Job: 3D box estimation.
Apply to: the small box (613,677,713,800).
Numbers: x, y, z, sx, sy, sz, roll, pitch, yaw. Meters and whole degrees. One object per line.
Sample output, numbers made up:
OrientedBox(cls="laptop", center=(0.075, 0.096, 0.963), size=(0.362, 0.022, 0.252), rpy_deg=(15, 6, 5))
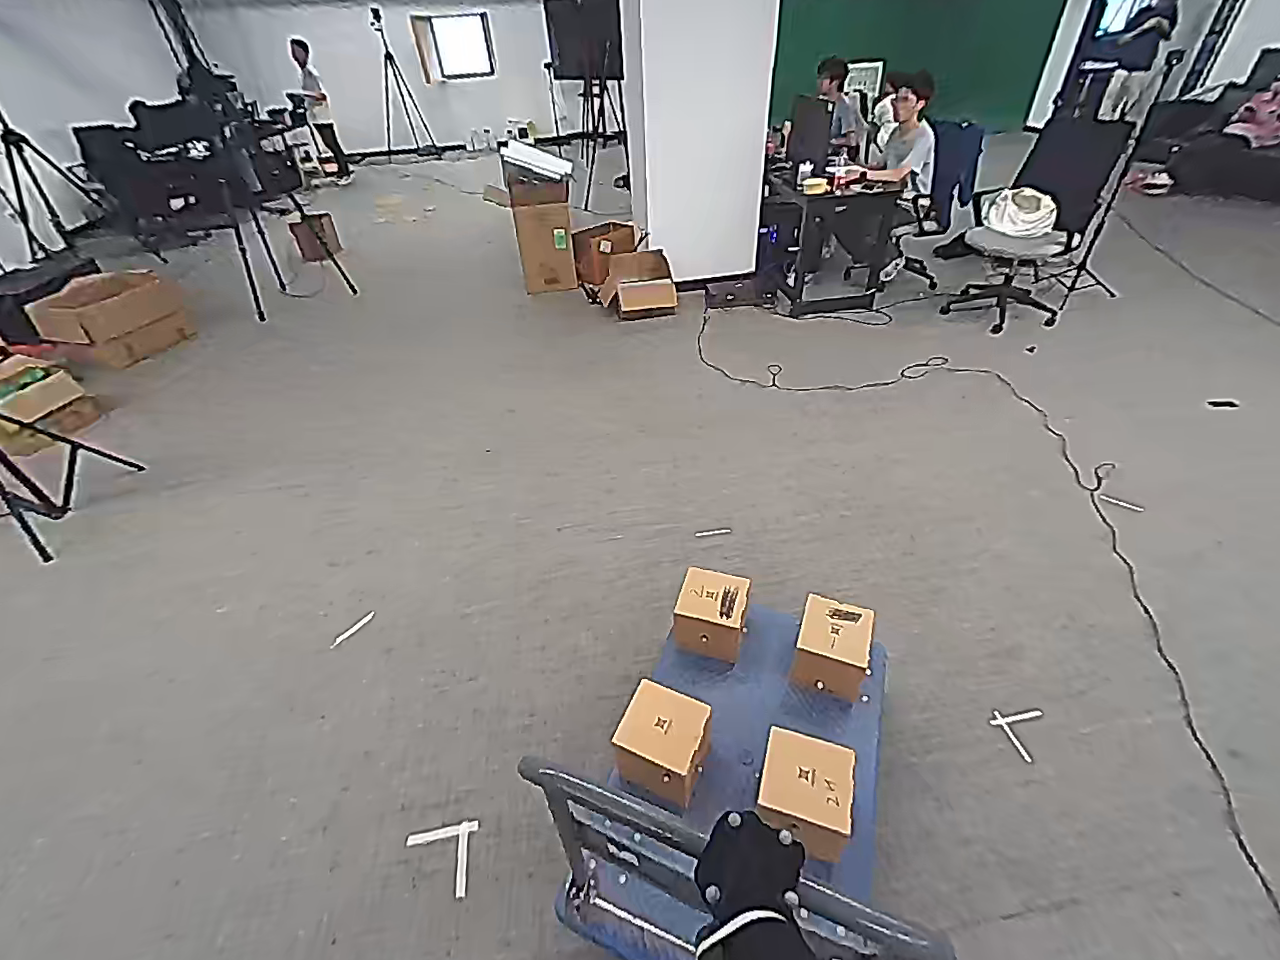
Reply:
OrientedBox(cls="small box", center=(0.055, 0.594, 1.238), size=(0.179, 0.176, 0.168), rpy_deg=(16, 43, 20))

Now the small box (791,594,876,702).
OrientedBox(cls="small box", center=(0.495, 0.433, 1.396), size=(0.168, 0.176, 0.179), rpy_deg=(14, 44, 20))

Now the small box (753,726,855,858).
OrientedBox(cls="small box", center=(0.341, 0.658, 1.138), size=(0.179, 0.176, 0.168), rpy_deg=(11, 42, 18))
